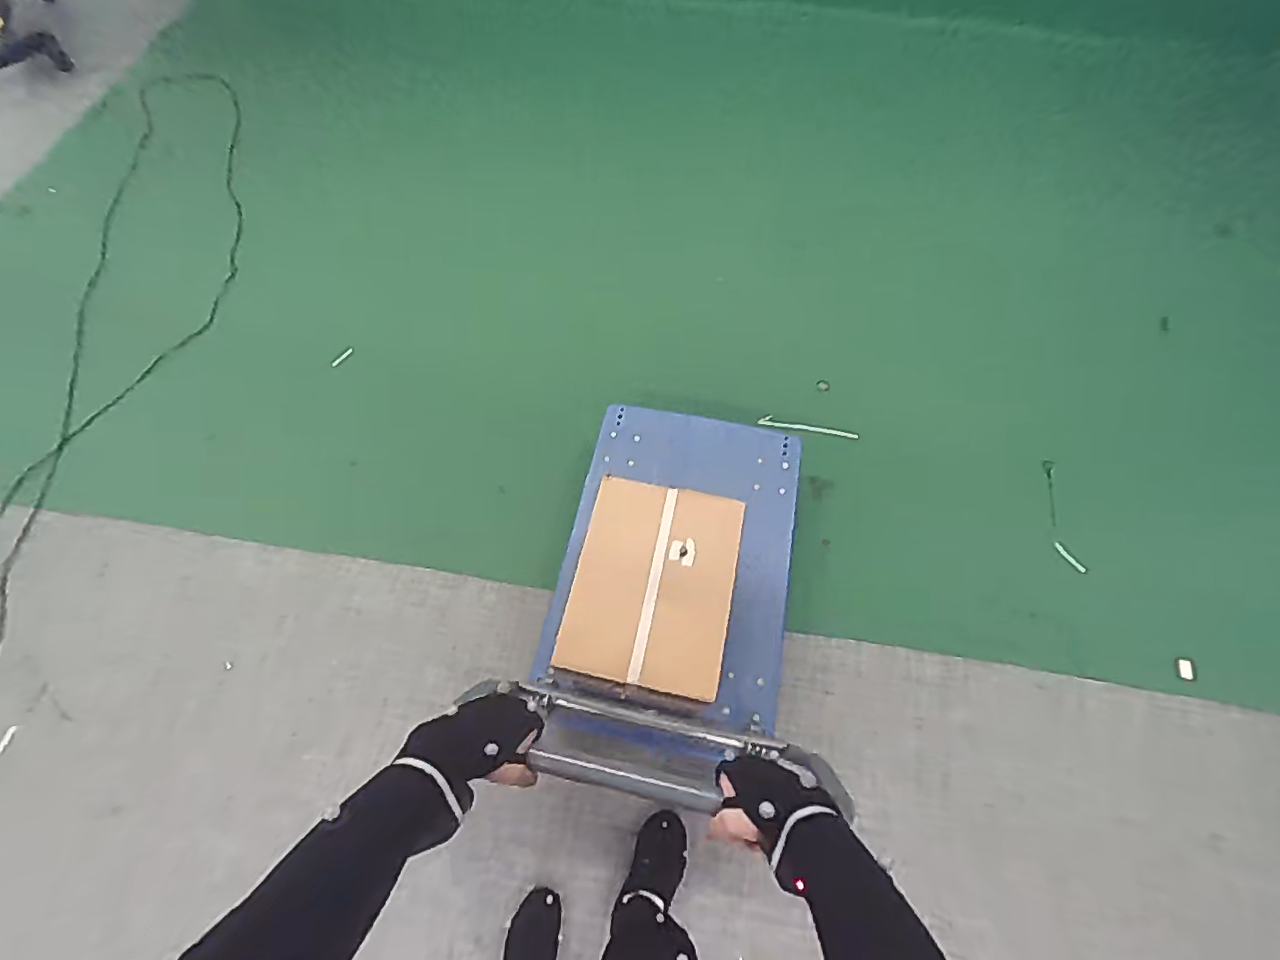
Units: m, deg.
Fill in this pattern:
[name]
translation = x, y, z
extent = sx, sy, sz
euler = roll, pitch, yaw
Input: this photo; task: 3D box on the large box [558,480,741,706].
[large box]
translation = 0.033, 0.265, 1.224
extent = 0.320, 0.320, 0.408
euler = 11, 65, 6
